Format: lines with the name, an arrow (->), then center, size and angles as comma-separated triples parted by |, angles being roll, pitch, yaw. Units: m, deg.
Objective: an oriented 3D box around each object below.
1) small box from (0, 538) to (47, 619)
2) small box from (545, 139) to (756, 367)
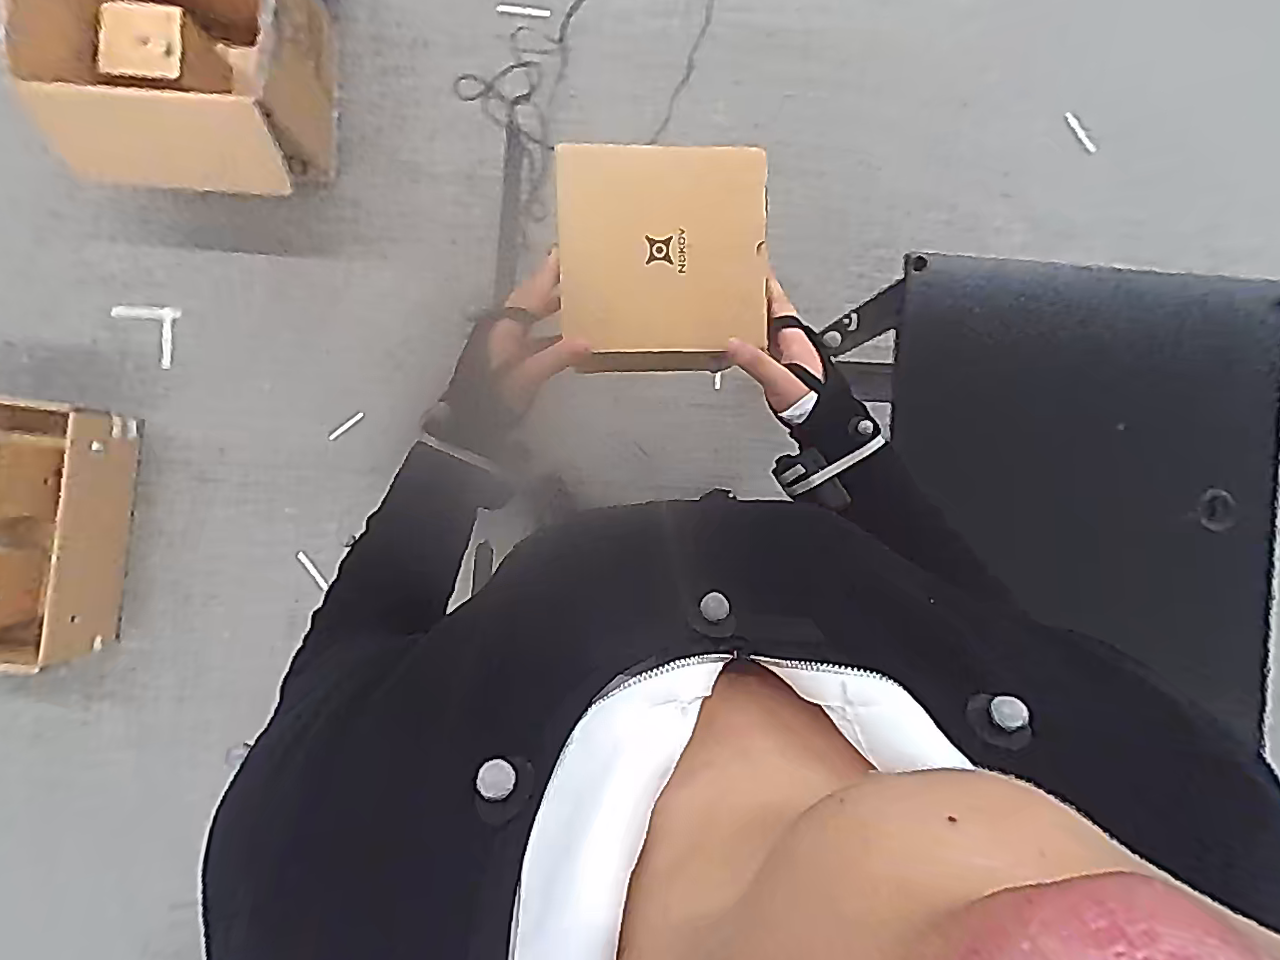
small box -> -1.572, 0.237, 1.273 | 0.168, 0.176, 0.179 | 7, 89, -6
small box -> 0.005, -0.203, 0.529 | 0.179, 0.176, 0.168 | -2, 96, -5
